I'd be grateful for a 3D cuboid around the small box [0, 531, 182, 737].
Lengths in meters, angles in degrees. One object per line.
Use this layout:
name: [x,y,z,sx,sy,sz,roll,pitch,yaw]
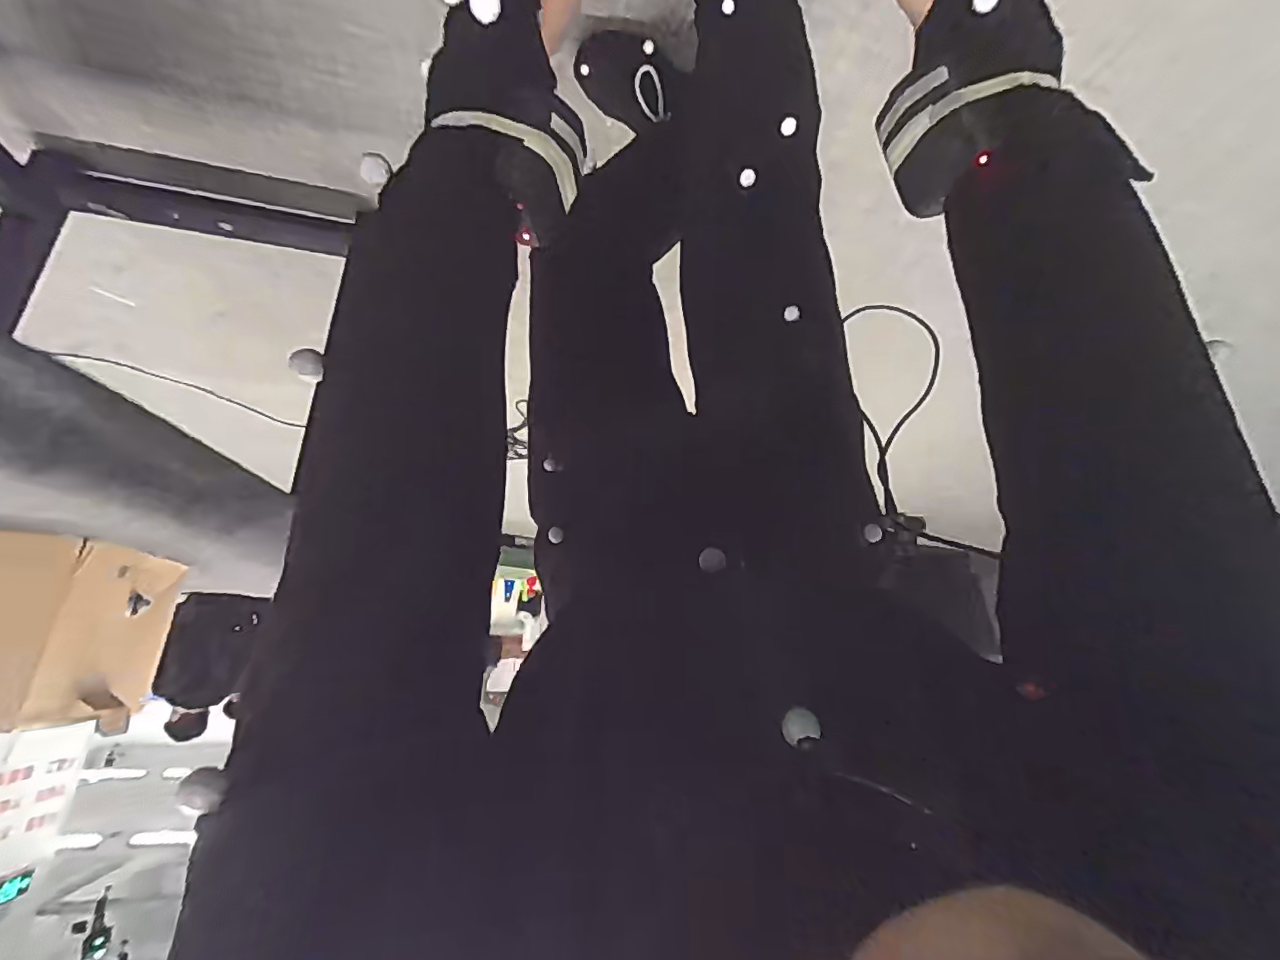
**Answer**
small box: [-0.597,0.144,0.514,0.179,0.176,0.168,5,160,-10]
